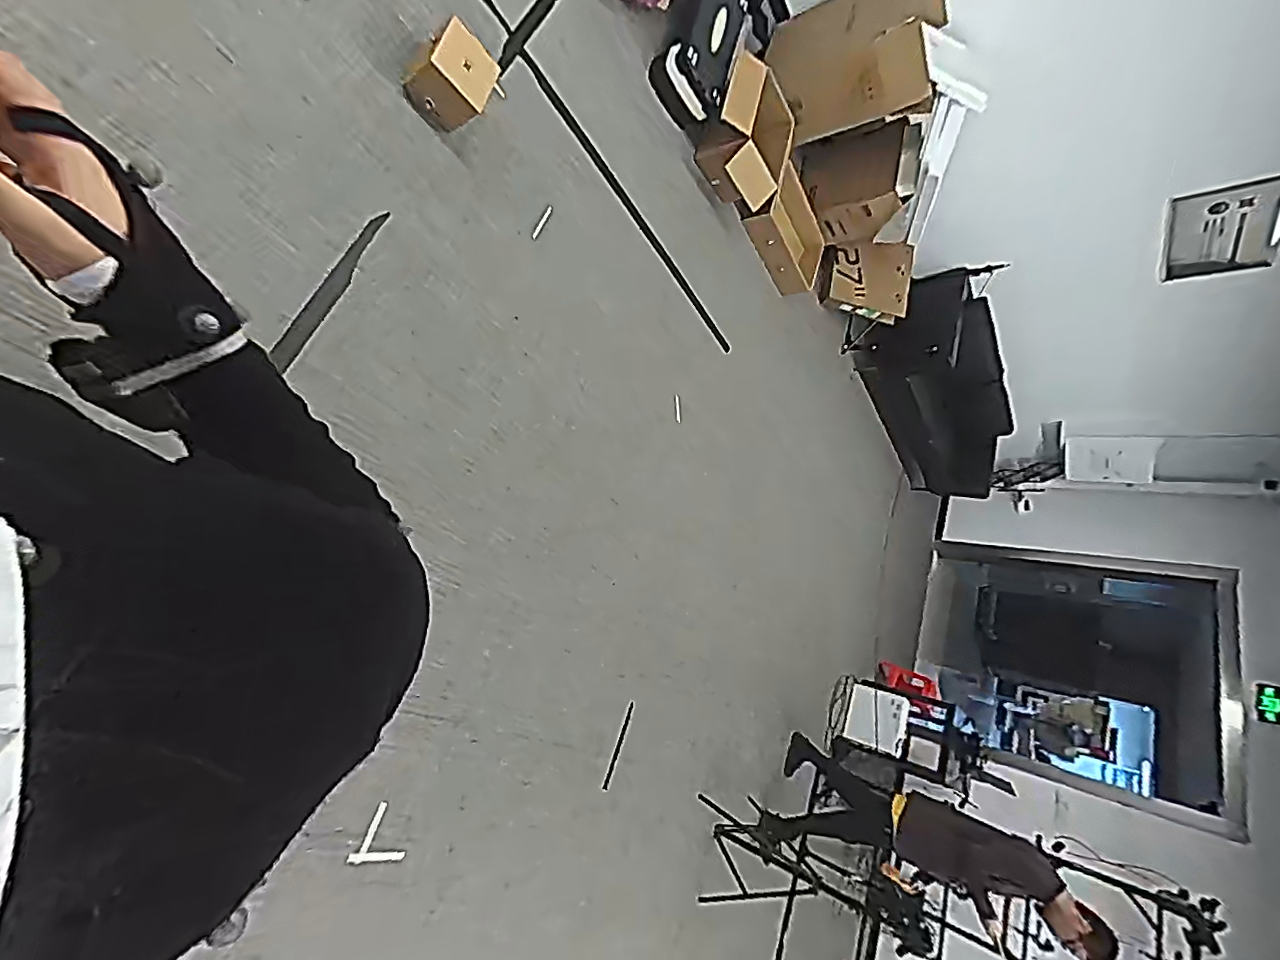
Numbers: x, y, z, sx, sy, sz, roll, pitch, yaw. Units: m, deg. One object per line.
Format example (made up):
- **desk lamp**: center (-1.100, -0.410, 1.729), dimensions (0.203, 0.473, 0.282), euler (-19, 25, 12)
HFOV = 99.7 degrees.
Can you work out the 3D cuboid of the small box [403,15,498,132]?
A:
- **small box**: center (-0.540, -1.145, 1.536), dimensions (0.168, 0.176, 0.179), euler (32, 70, -45)
